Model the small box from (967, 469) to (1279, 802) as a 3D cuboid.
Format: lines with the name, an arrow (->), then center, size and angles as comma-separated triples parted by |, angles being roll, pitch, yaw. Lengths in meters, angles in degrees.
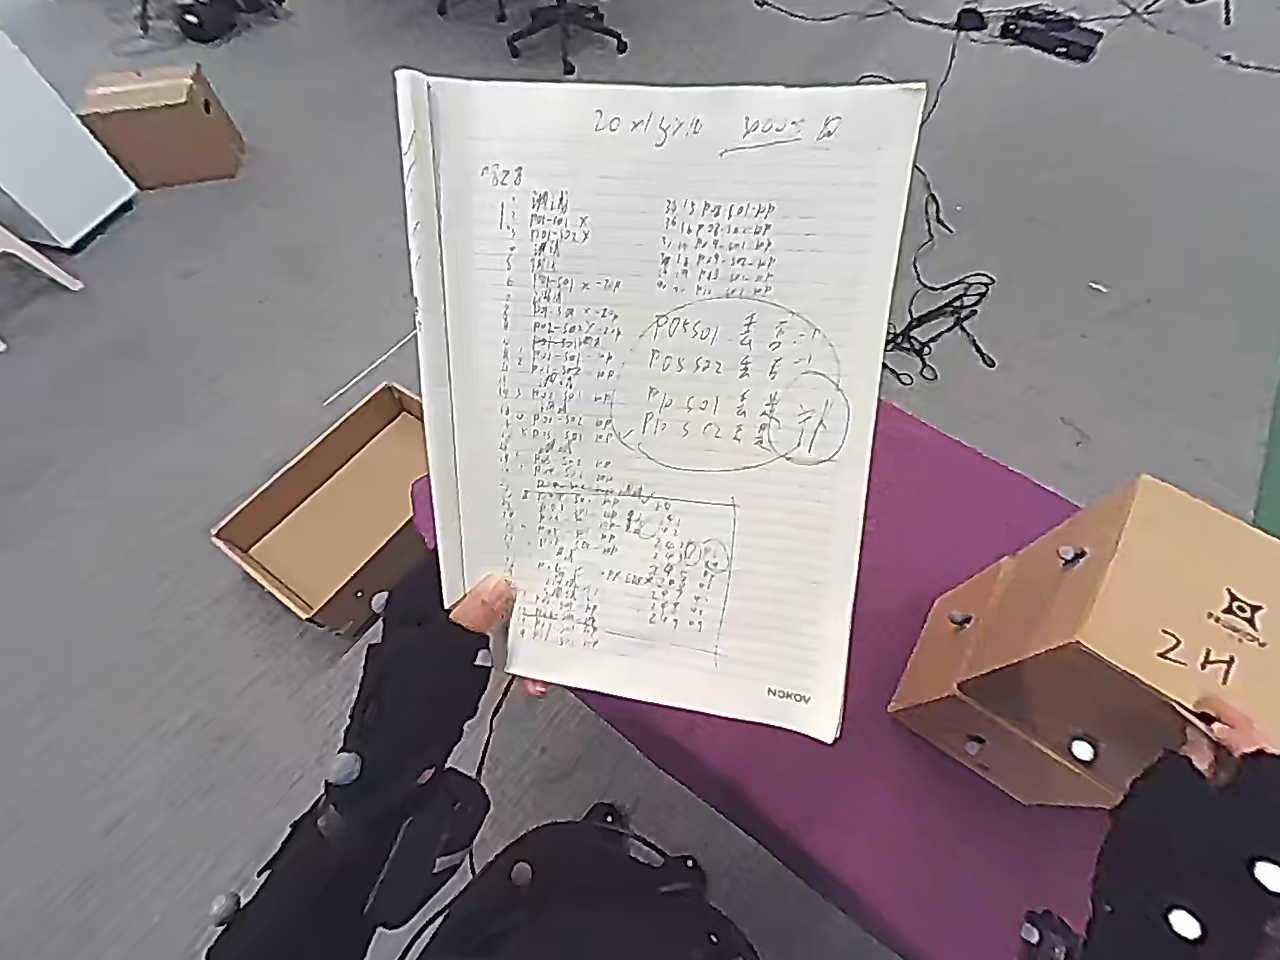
small box -> 0.414, 0.130, 0.447 | 0.168, 0.176, 0.179 | 35, 67, 18

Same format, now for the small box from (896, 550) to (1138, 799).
small box -> 0.409, 0.214, 0.589 | 0.168, 0.176, 0.179 | 32, 65, 17
